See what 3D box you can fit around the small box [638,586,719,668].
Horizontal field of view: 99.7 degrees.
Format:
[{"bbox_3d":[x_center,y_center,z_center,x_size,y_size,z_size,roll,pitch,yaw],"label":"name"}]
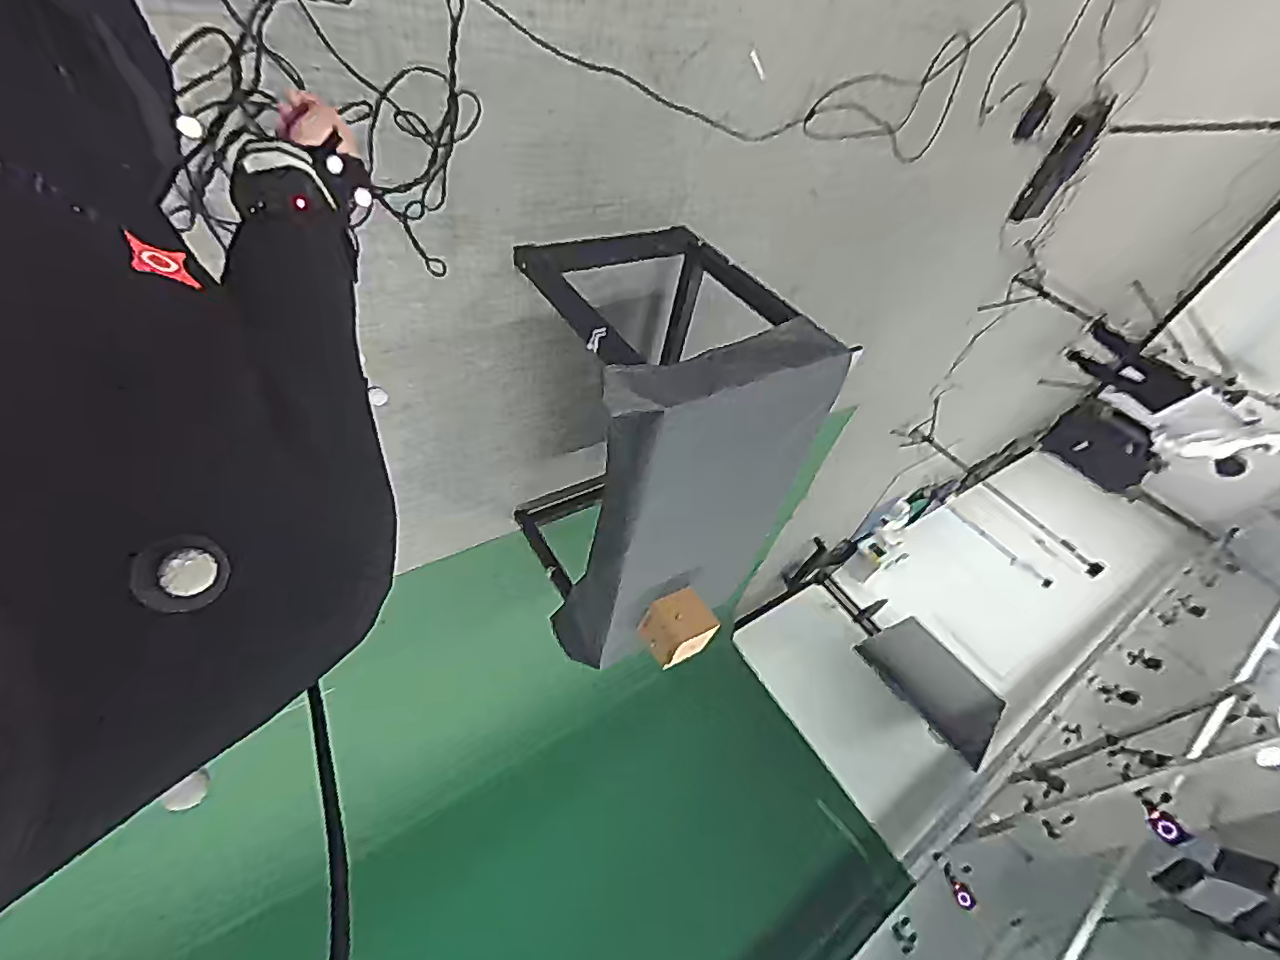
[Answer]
[{"bbox_3d":[0.121,0.481,1.785,0.179,0.176,0.168,-14,143,-38],"label":"small box"}]
